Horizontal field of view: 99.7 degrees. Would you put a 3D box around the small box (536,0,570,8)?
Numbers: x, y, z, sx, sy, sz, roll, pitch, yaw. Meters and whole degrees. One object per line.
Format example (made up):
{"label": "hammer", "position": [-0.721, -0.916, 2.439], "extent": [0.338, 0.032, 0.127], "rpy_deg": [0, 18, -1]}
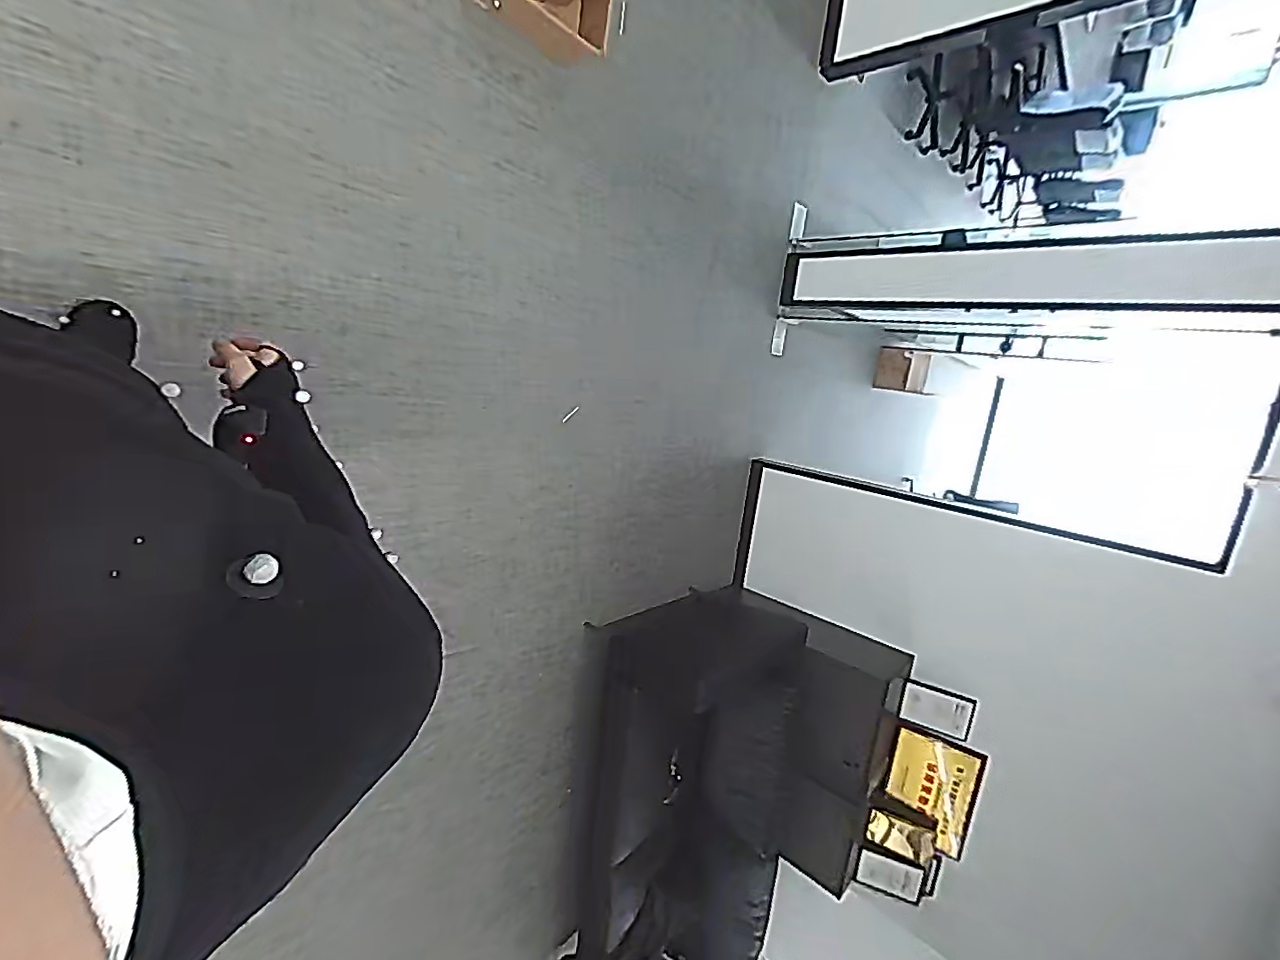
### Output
{"label": "small box", "position": [-0.259, -1.503, 1.552], "extent": [0.179, 0.176, 0.168], "rpy_deg": [-25, 120, -42]}
